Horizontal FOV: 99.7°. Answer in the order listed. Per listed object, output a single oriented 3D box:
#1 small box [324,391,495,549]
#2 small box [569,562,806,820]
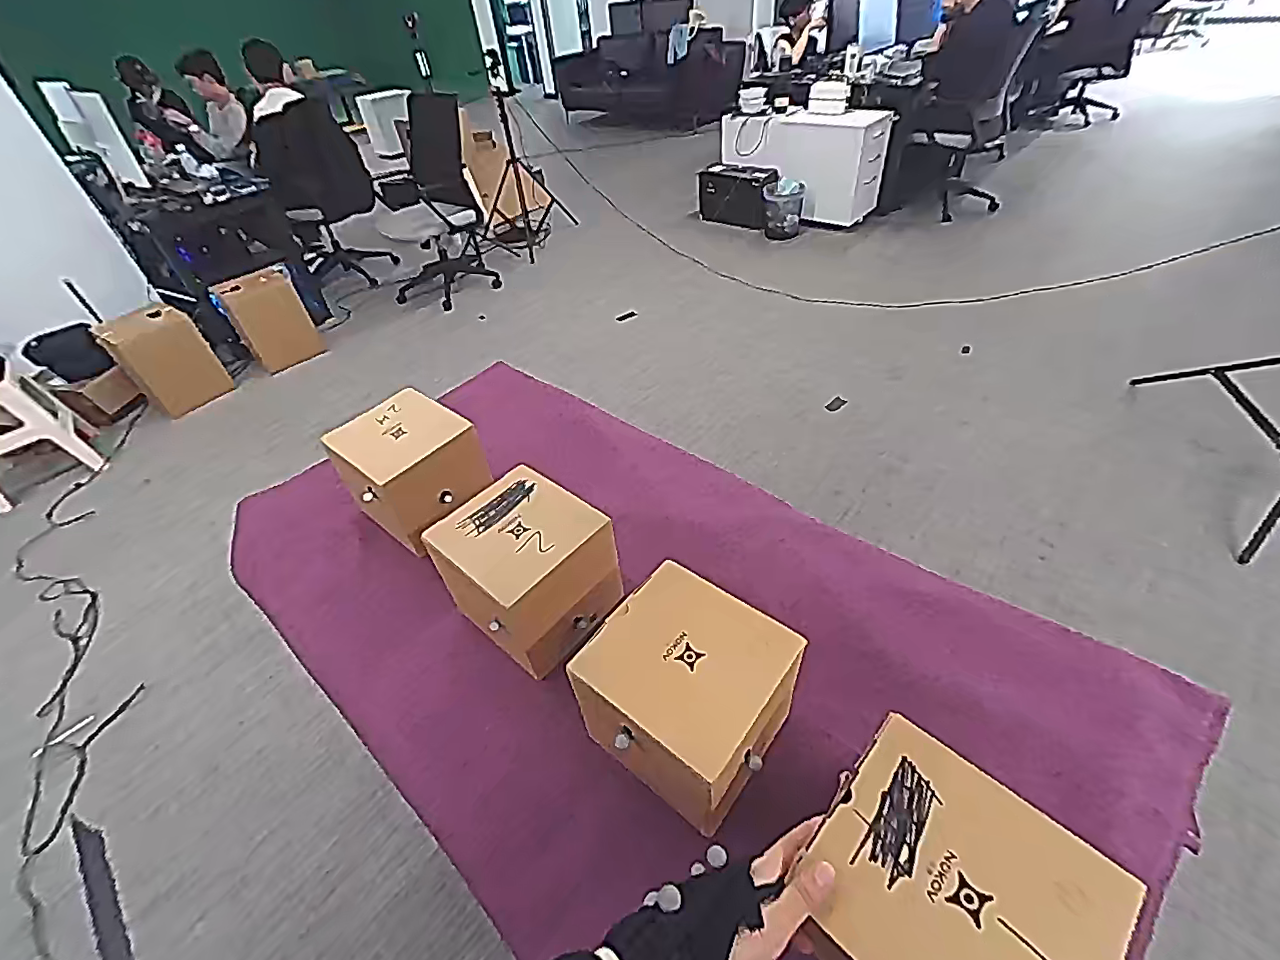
[{"bbox_3d":[-0.364,-0.012,0.886,0.179,0.176,0.168,28,53,29],"label":"small box"},{"bbox_3d":[0.054,0.229,0.583,0.179,0.176,0.168,26,52,31],"label":"small box"}]
